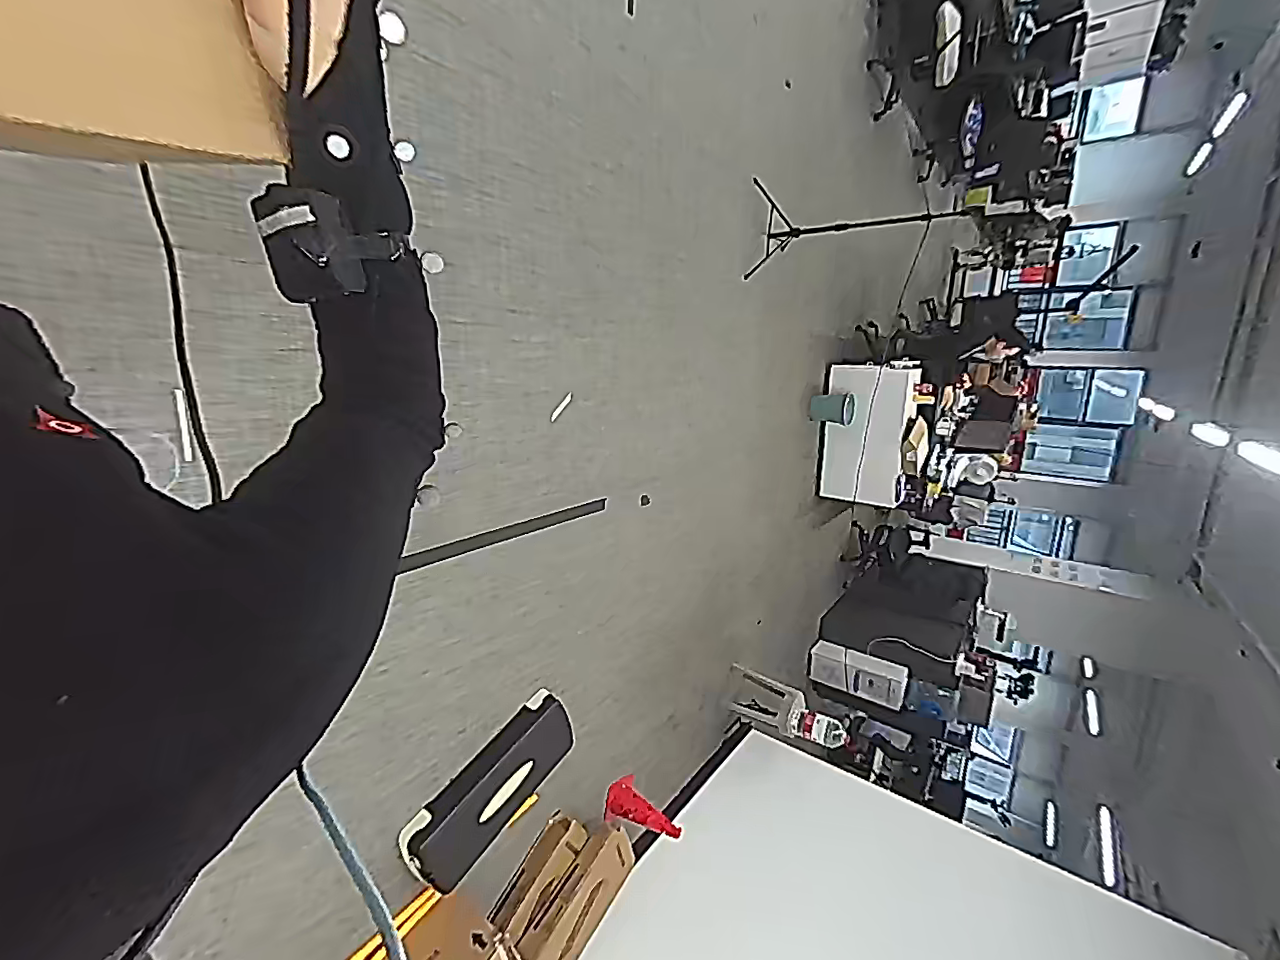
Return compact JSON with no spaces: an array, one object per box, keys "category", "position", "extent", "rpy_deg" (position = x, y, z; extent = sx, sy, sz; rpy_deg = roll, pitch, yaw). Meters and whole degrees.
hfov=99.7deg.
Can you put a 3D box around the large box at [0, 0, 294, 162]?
[{"category":"large box","position":[-0.442,-0.324,0.202],"extent":[0.408,0.320,0.320],"rpy_deg":[-29,132,-52]}]
